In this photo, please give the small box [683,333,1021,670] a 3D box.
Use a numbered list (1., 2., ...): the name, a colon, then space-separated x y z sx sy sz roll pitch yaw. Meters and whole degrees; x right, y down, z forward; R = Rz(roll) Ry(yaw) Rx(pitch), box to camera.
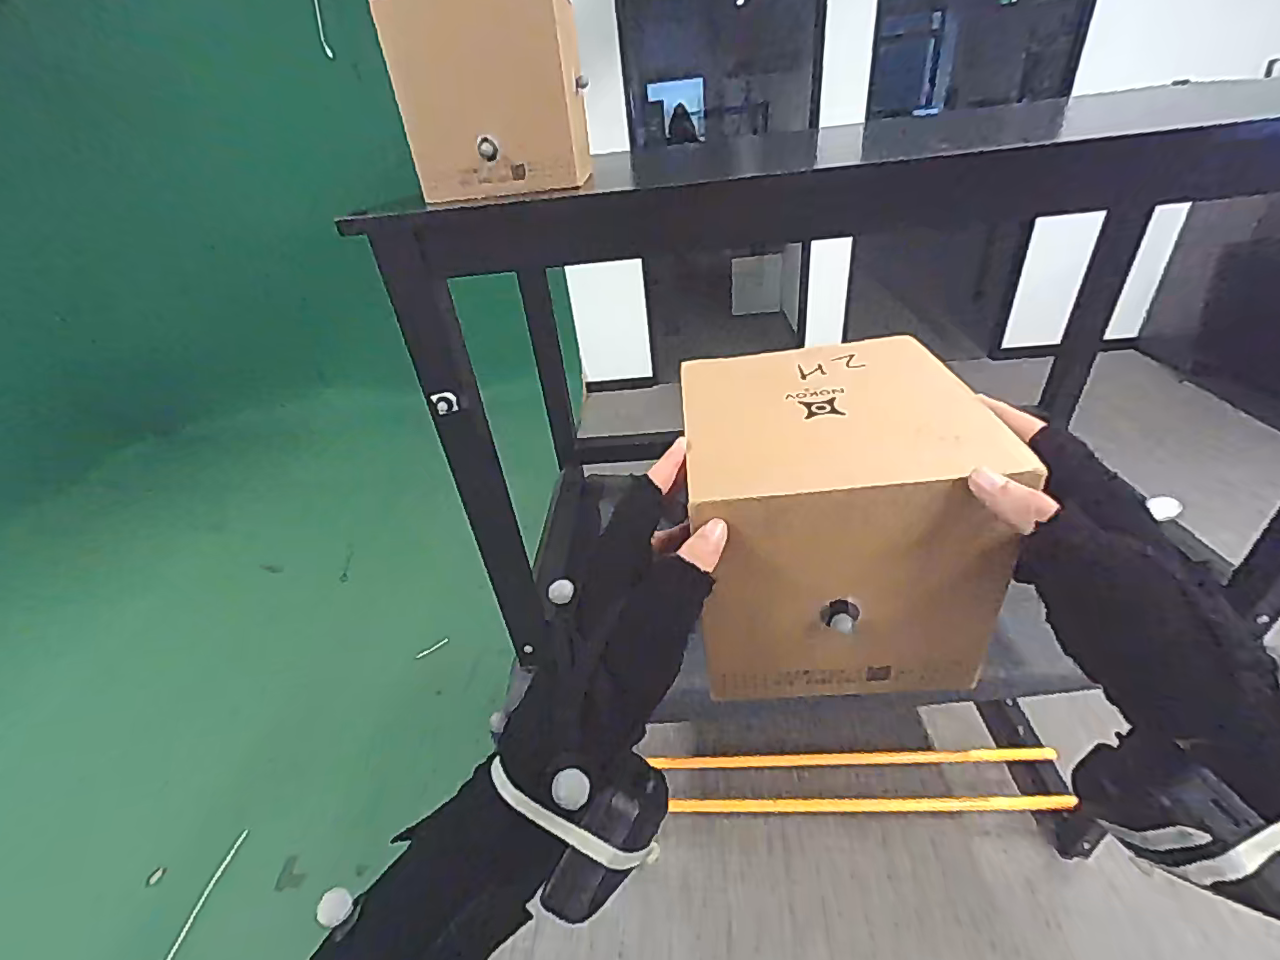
1. small box: 0.121 0.017 0.380 0.168 0.176 0.179 -5 34 7
